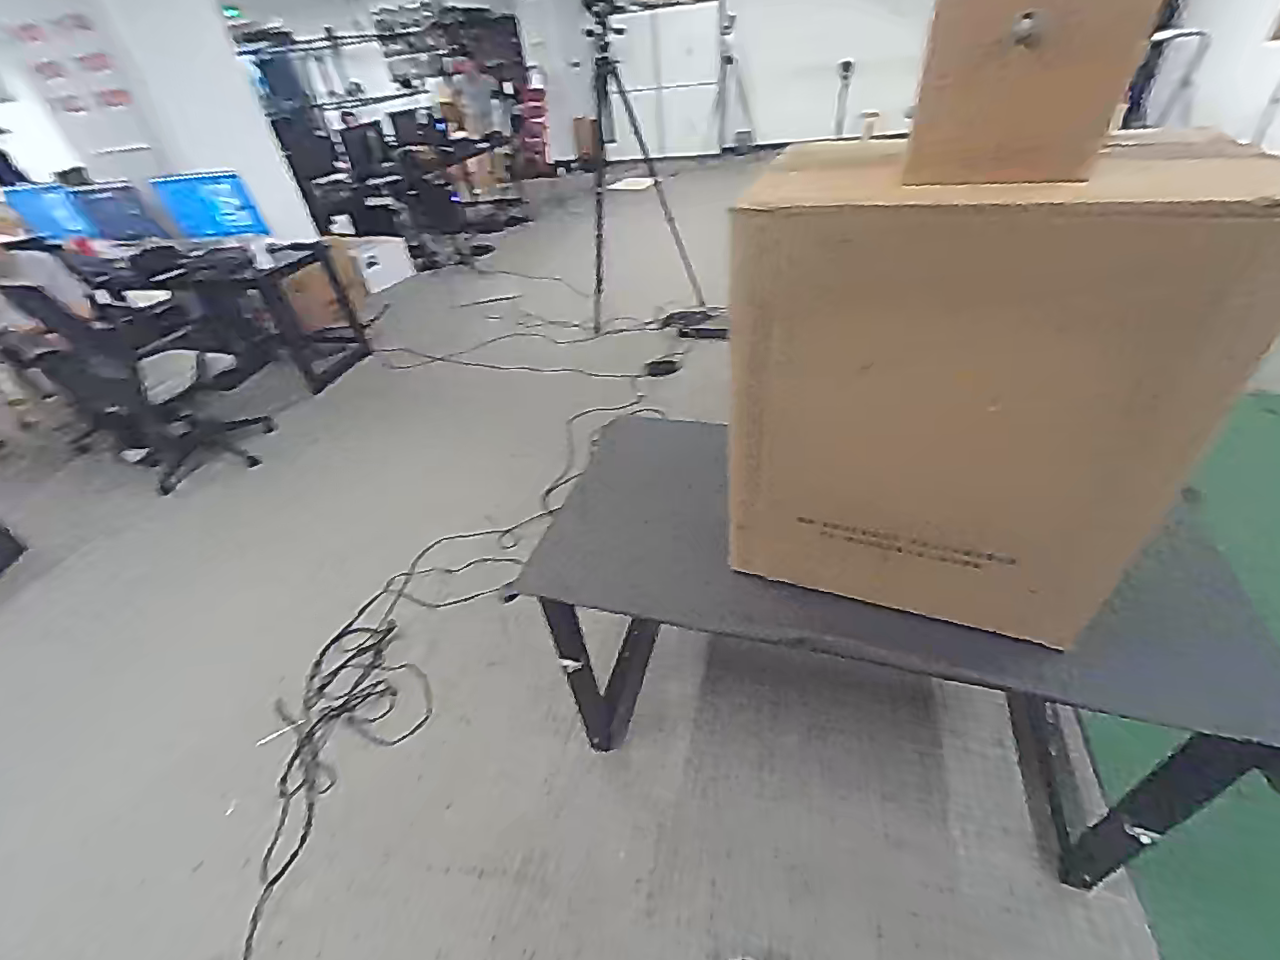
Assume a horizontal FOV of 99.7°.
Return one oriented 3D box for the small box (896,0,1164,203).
[{"bbox_3d":[0.384,-0.402,0.565,0.179,0.176,0.168,11,44,22],"label":"small box"}]
